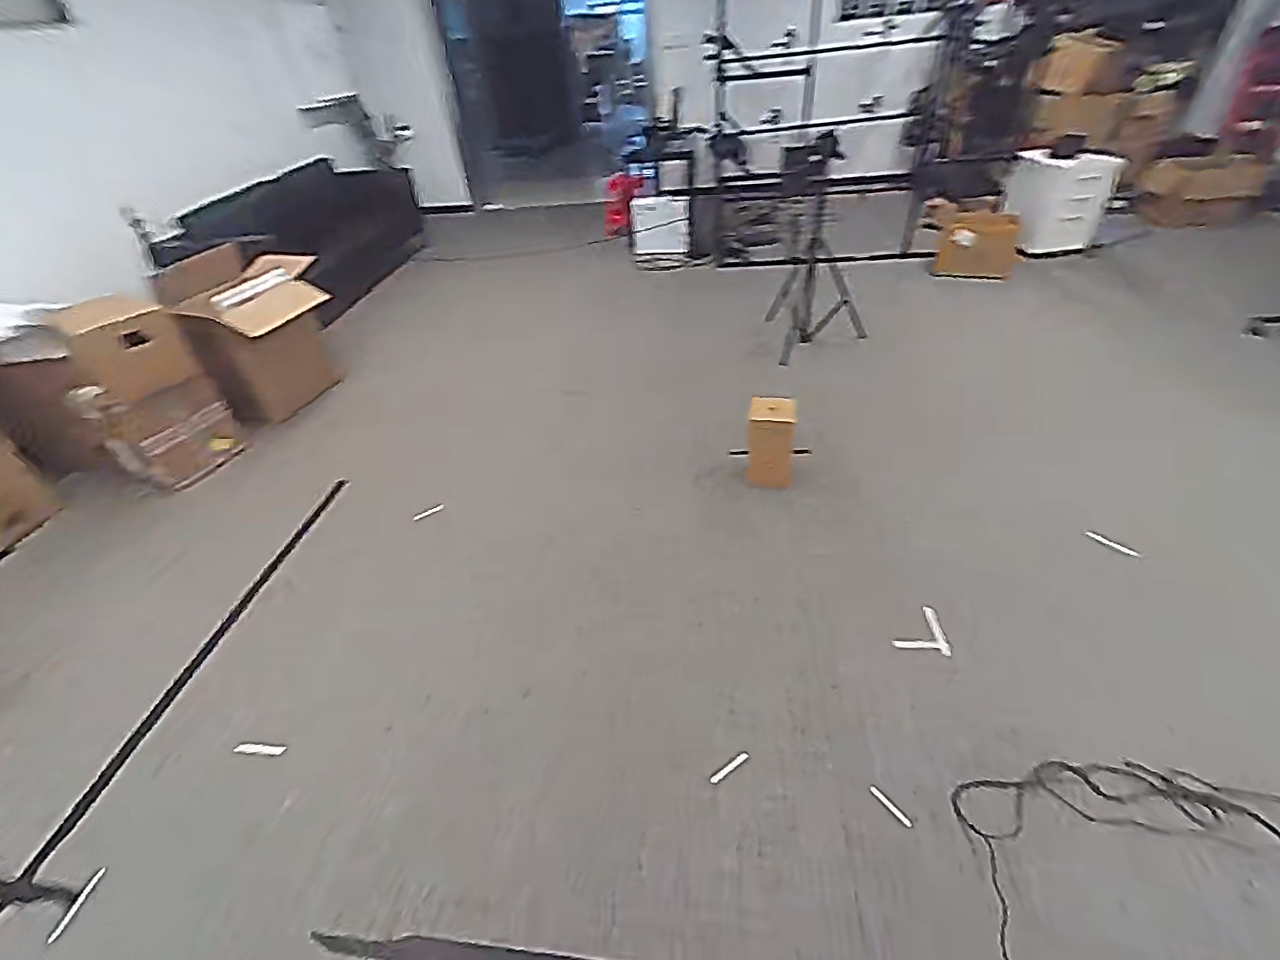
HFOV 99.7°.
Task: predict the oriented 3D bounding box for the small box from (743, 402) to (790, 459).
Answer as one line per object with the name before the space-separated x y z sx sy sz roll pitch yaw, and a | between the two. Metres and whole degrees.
small box | 0.514 -0.201 2.204 0.179 0.176 0.168 5 42 14

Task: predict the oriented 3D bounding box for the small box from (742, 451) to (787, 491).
small box | 0.529 -0.069 2.303 0.179 0.176 0.168 3 40 11
